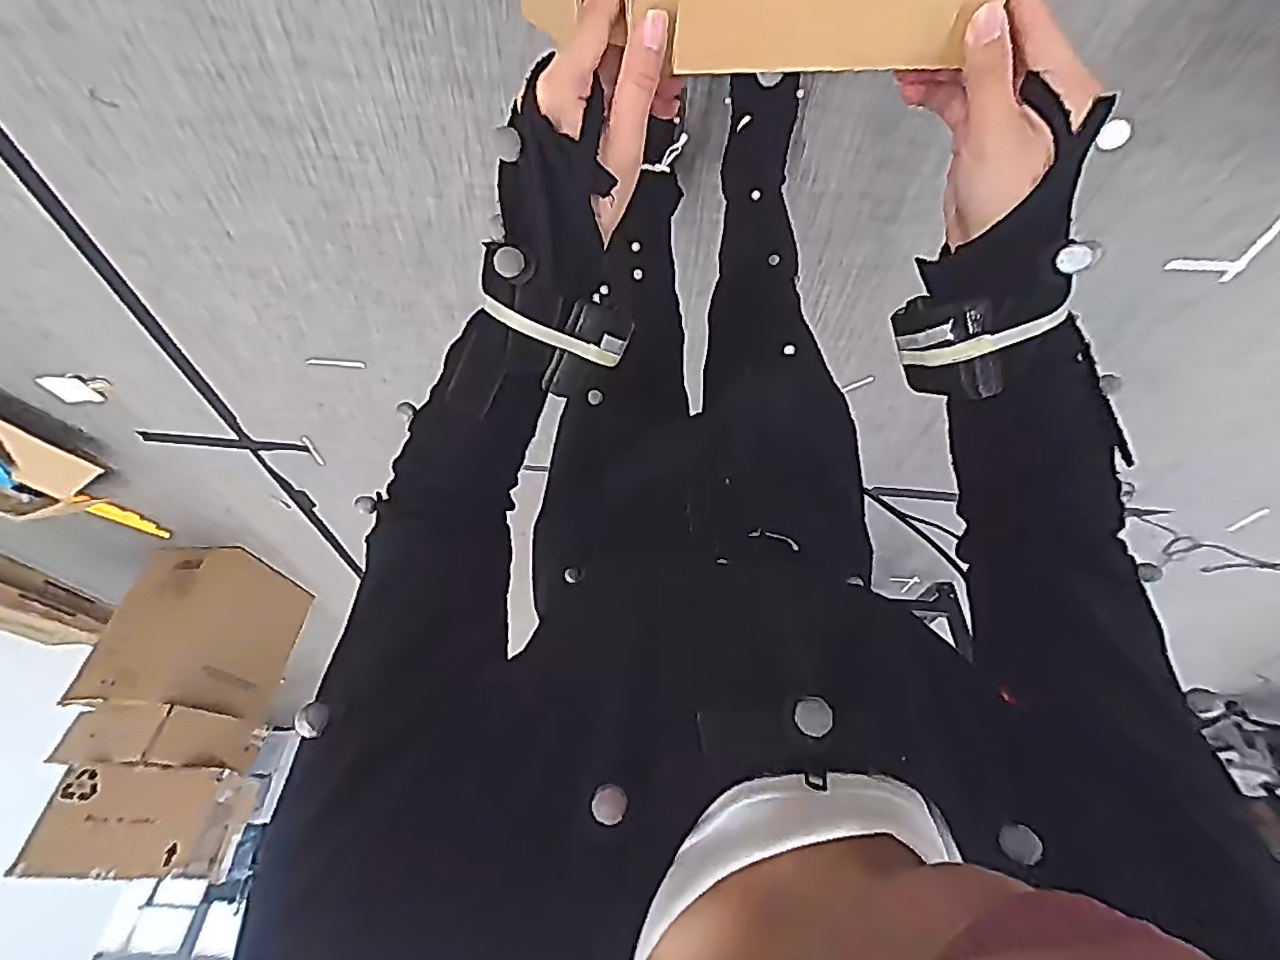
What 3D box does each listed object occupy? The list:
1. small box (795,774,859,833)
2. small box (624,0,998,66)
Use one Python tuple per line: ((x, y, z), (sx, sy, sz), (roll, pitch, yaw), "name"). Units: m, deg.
((0.679, 1.193, 1.989), (0.168, 0.176, 0.179), (5, 144, -4), "small box")
((0.078, -0.320, 0.250), (0.179, 0.176, 0.168), (-1, 144, 0), "small box")
